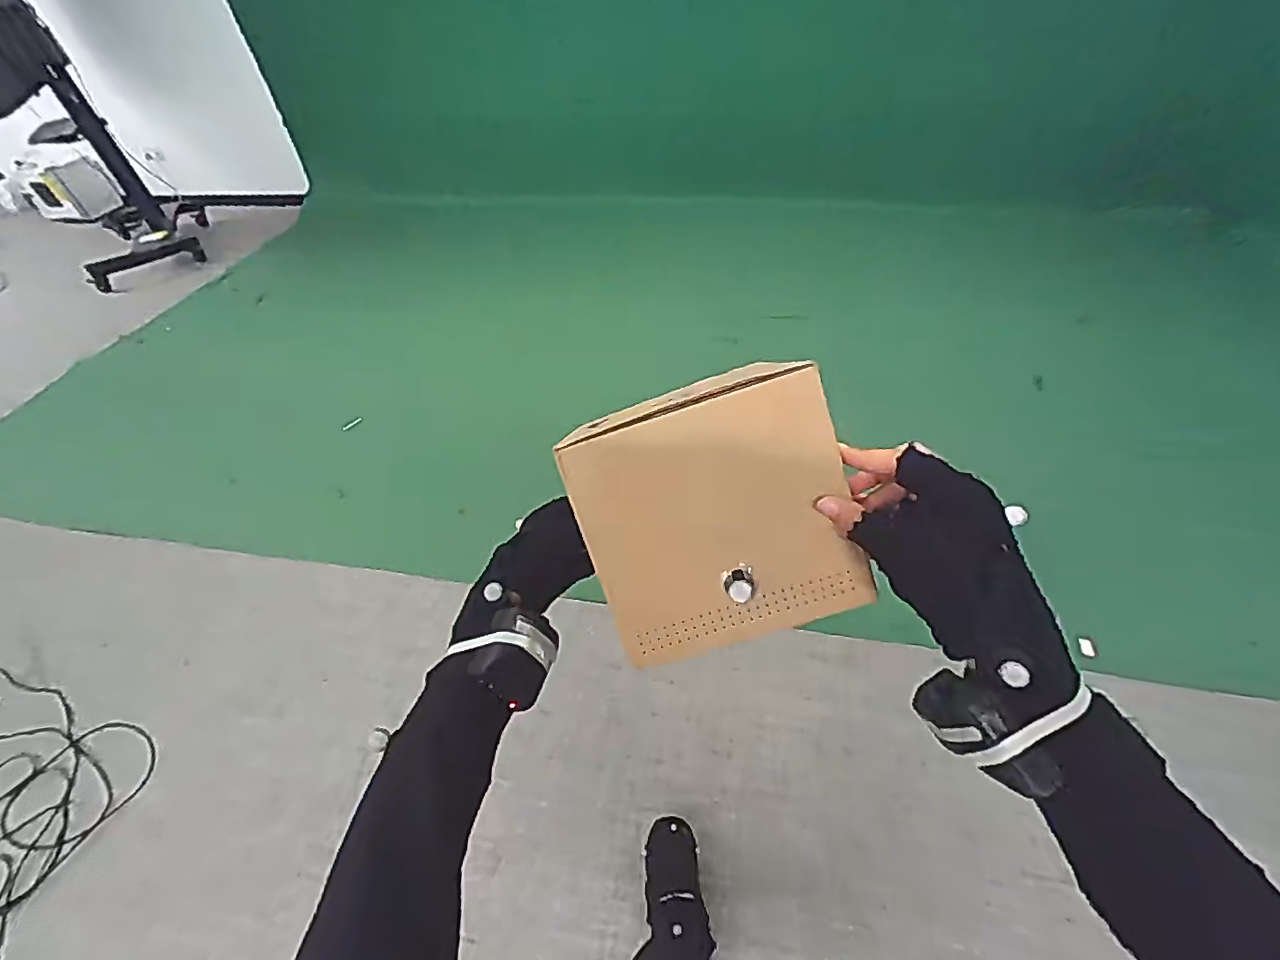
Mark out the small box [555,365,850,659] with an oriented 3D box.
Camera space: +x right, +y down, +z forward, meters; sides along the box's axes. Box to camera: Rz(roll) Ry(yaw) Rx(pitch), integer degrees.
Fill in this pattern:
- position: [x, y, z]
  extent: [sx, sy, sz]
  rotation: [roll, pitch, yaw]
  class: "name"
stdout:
- position: [0.053, 0.015, 0.441]
  extent: [0.179, 0.176, 0.168]
  rotation: [-19, 10, 5]
  class: "small box"
